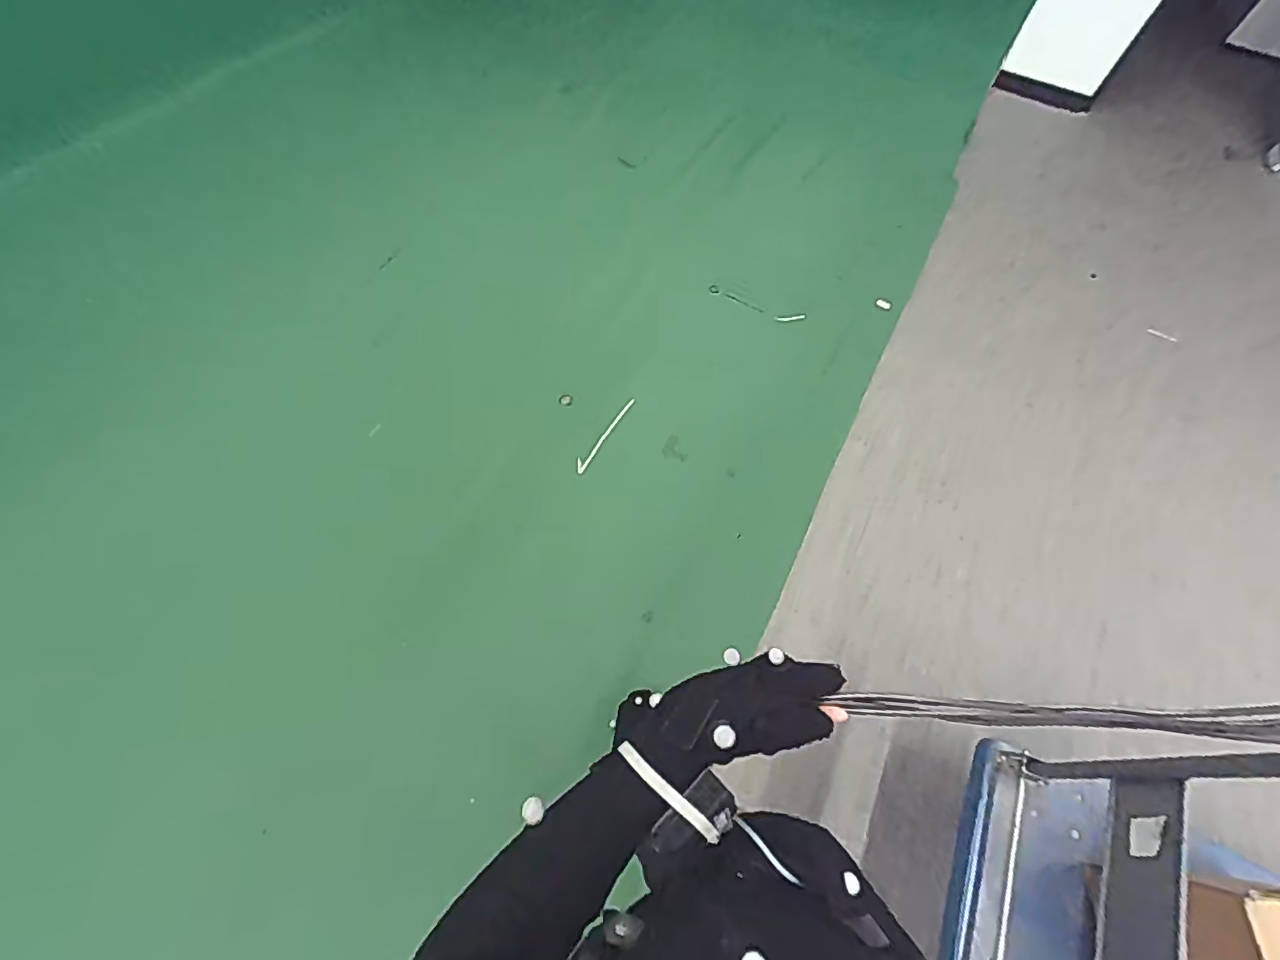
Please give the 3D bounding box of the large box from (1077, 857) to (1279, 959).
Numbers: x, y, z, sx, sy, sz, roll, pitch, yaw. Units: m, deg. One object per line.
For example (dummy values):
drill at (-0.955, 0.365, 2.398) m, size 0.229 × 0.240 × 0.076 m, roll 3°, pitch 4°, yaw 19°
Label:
large box at (0.994, 0.858, 0.839) m, size 0.320 × 0.320 × 0.408 m, roll 6°, pitch 61°, yaw 0°
